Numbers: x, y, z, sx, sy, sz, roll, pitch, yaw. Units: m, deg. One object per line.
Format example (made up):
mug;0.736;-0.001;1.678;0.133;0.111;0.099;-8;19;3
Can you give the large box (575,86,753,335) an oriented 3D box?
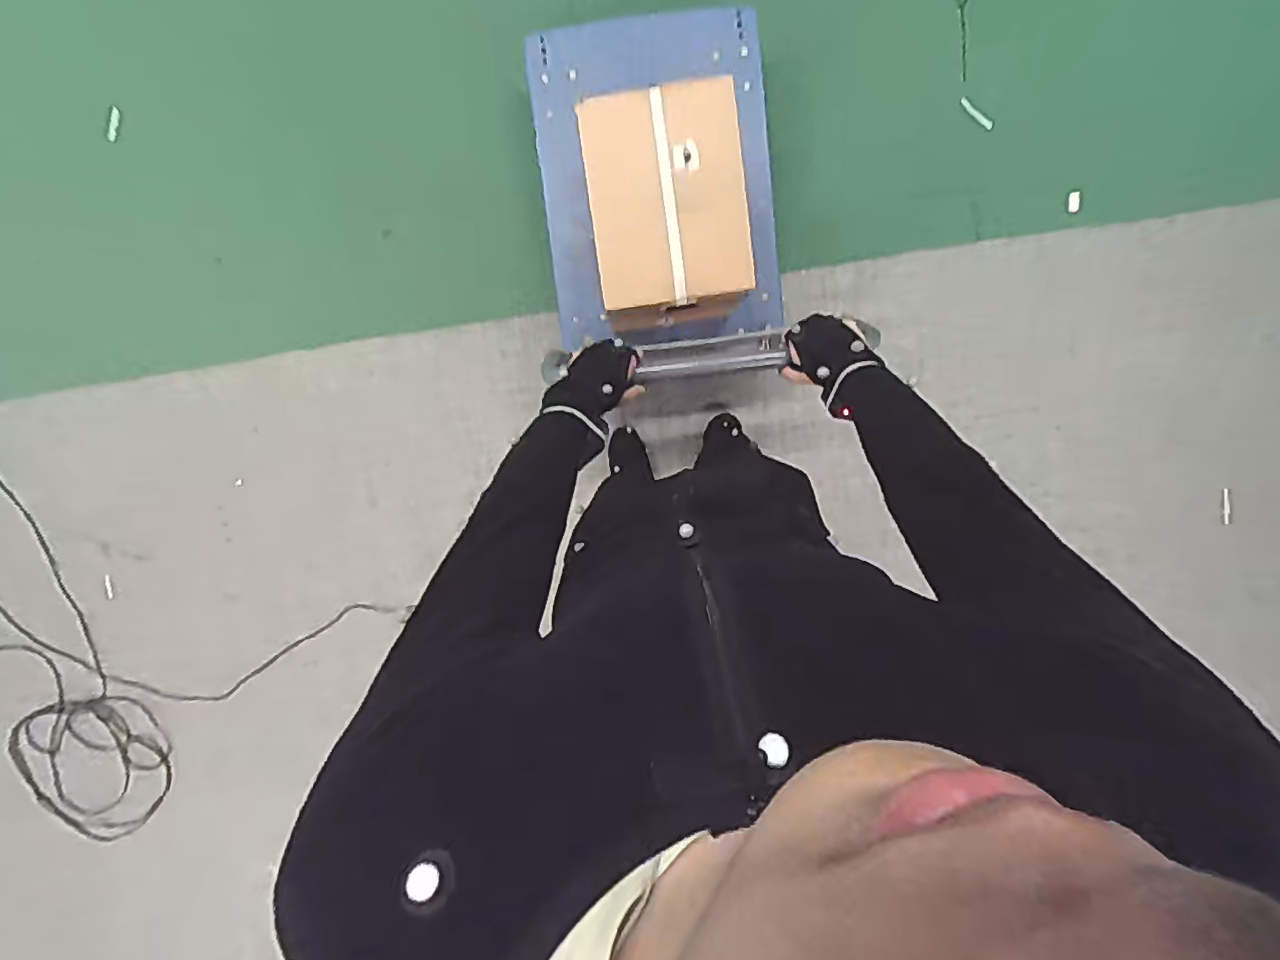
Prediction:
large box;0.055;-0.576;1.237;0.320;0.320;0.408;-8;97;2
